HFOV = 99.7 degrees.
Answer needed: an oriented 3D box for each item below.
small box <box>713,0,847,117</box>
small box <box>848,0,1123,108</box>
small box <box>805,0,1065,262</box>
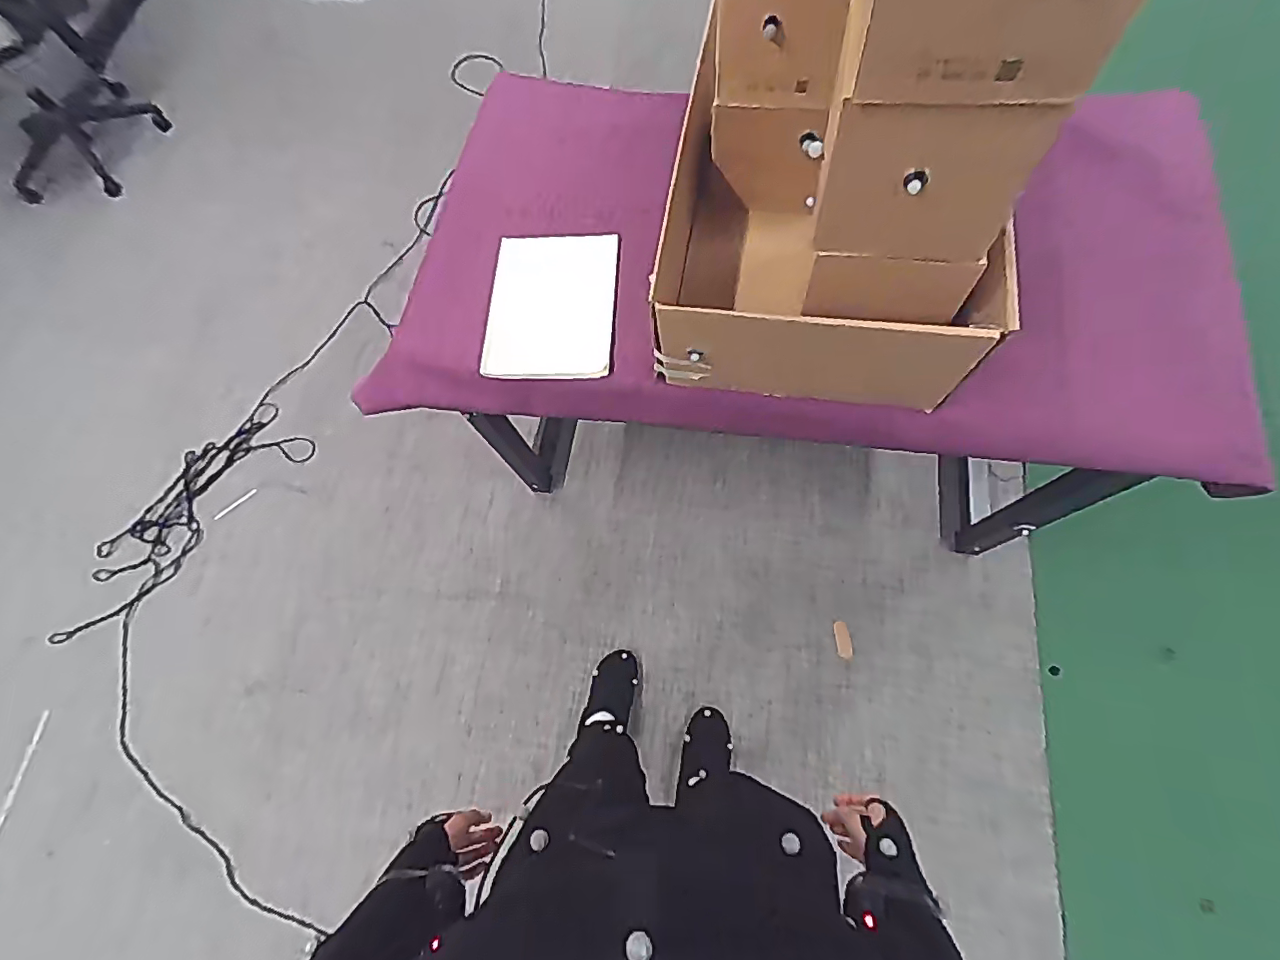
[{"bbox_3d":[0.181,-0.565,0.636,0.168,0.176,0.179,9,73,10],"label":"small box"},{"bbox_3d":[0.252,-0.398,0.381,0.168,0.176,0.179,9,69,11],"label":"small box"},{"bbox_3d":[0.271,-0.339,0.532,0.179,0.176,0.168,8,69,12],"label":"small box"}]
